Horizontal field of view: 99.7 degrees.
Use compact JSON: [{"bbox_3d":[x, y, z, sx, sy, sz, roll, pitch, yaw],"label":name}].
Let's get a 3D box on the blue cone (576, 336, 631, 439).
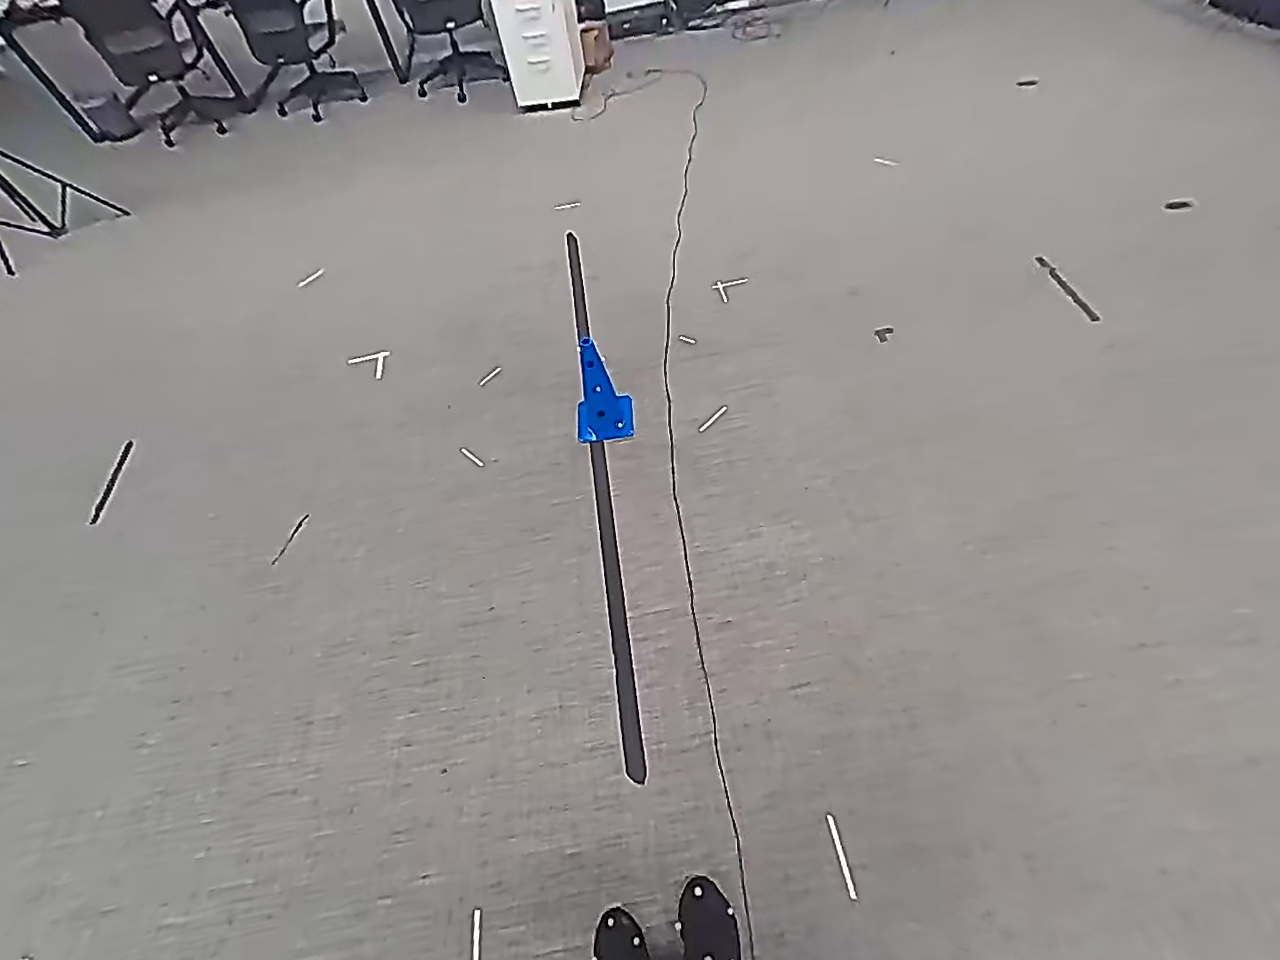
[{"bbox_3d":[-0.147,-0.324,1.788,0.193,0.380,0.192,-8,54,1],"label":"blue cone"}]
